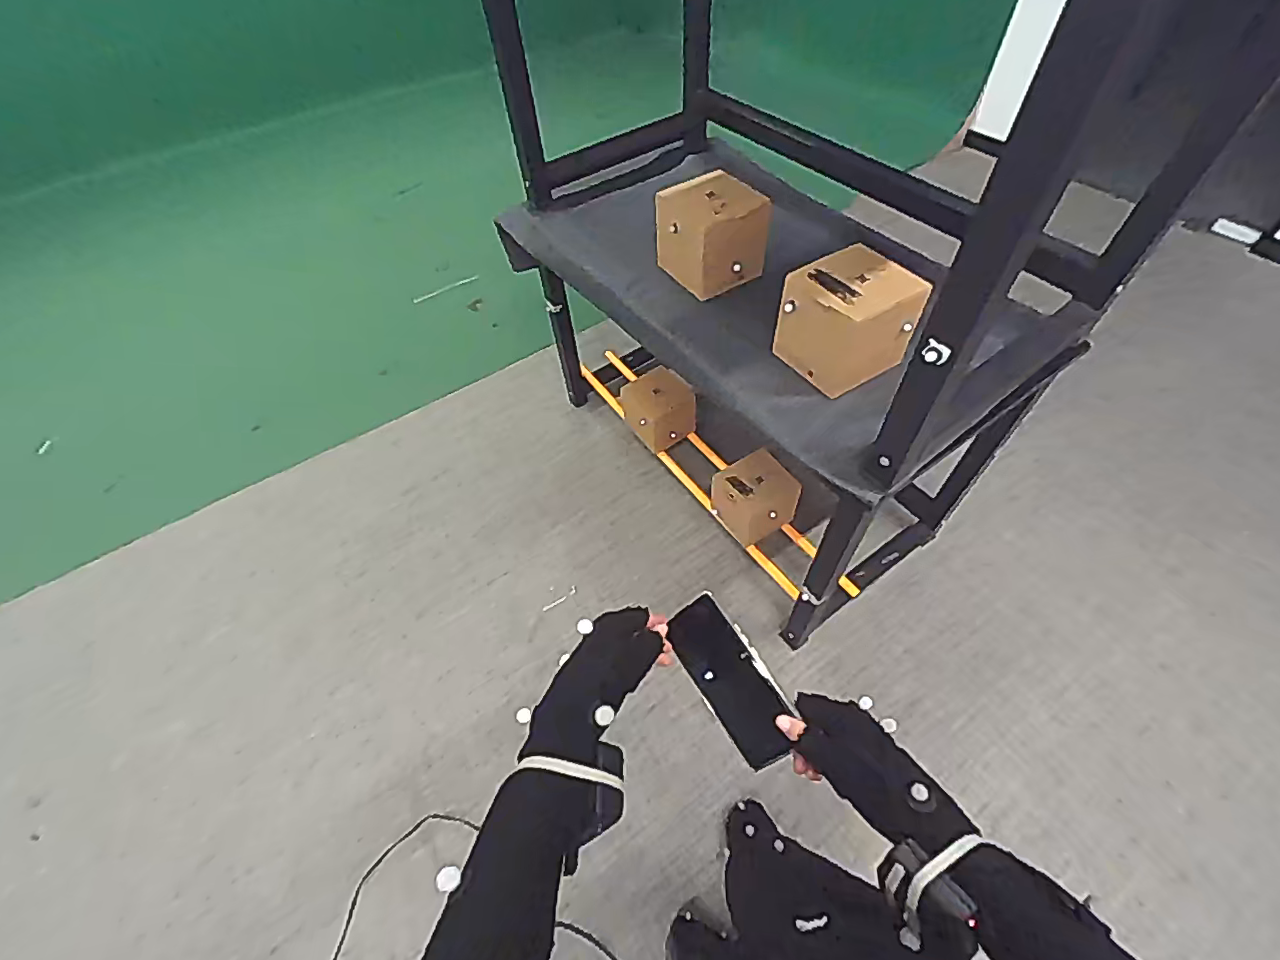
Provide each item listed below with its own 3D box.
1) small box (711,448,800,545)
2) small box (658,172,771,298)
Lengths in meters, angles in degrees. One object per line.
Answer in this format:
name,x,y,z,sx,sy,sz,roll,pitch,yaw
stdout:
small box,0.314,0.051,1.503,0.179,0.176,0.168,-28,57,-15
small box,0.152,-0.523,1.162,0.168,0.176,0.179,-28,57,-16
